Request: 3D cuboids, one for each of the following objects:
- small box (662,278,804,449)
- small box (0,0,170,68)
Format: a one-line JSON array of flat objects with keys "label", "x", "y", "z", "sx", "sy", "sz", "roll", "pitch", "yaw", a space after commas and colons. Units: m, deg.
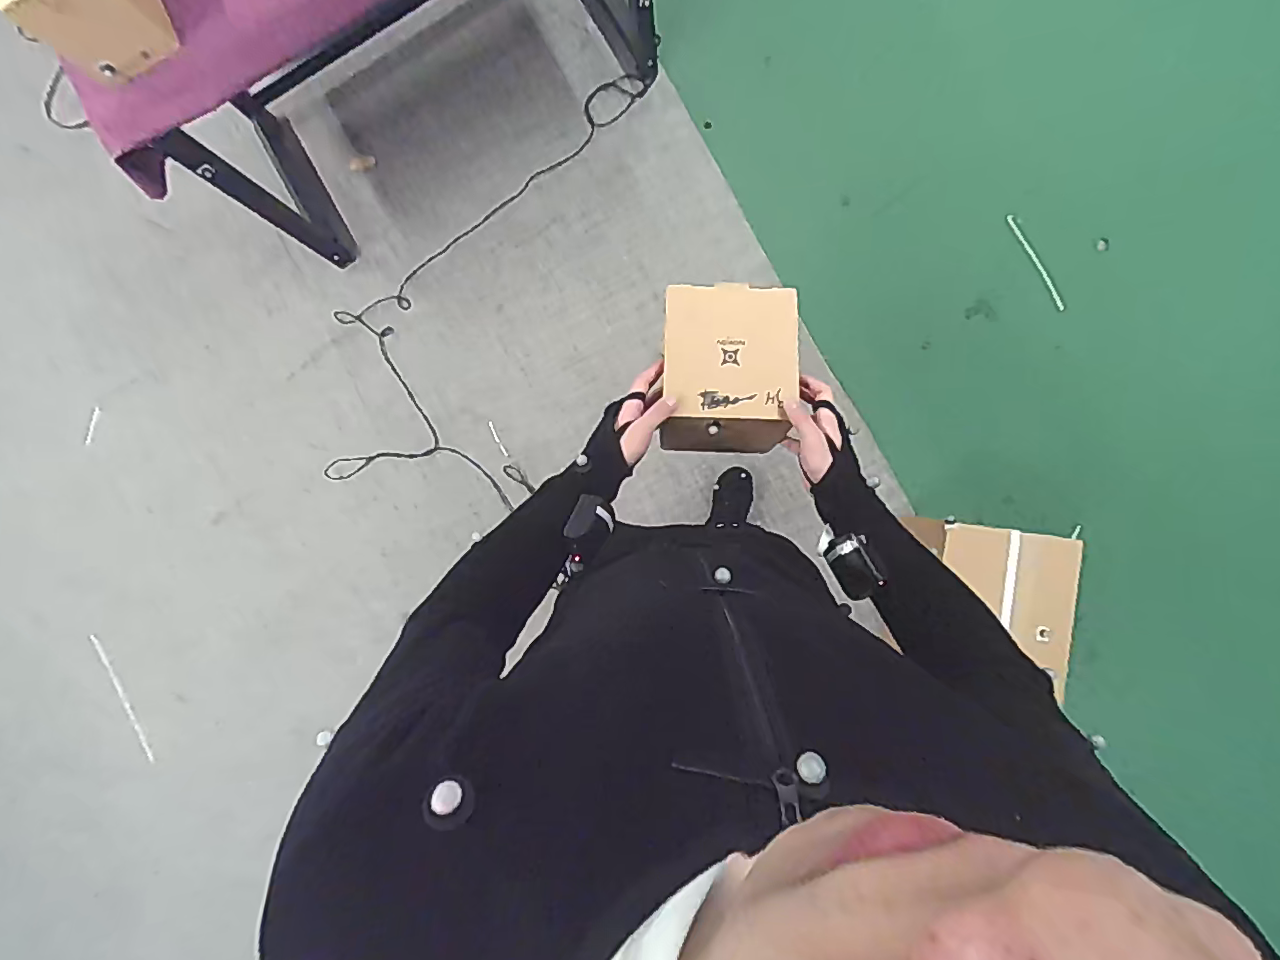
[{"label": "small box", "x": 0.117, "y": -0.149, "z": 0.736, "sx": 0.168, "sy": 0.176, "sz": 0.179, "roll": 2, "pitch": 81, "yaw": 1}, {"label": "small box", "x": -0.969, "y": -0.858, "z": 0.925, "sx": 0.168, "sy": 0.176, "sz": 0.179, "roll": -26, "pitch": 85, "yaw": 3}]
